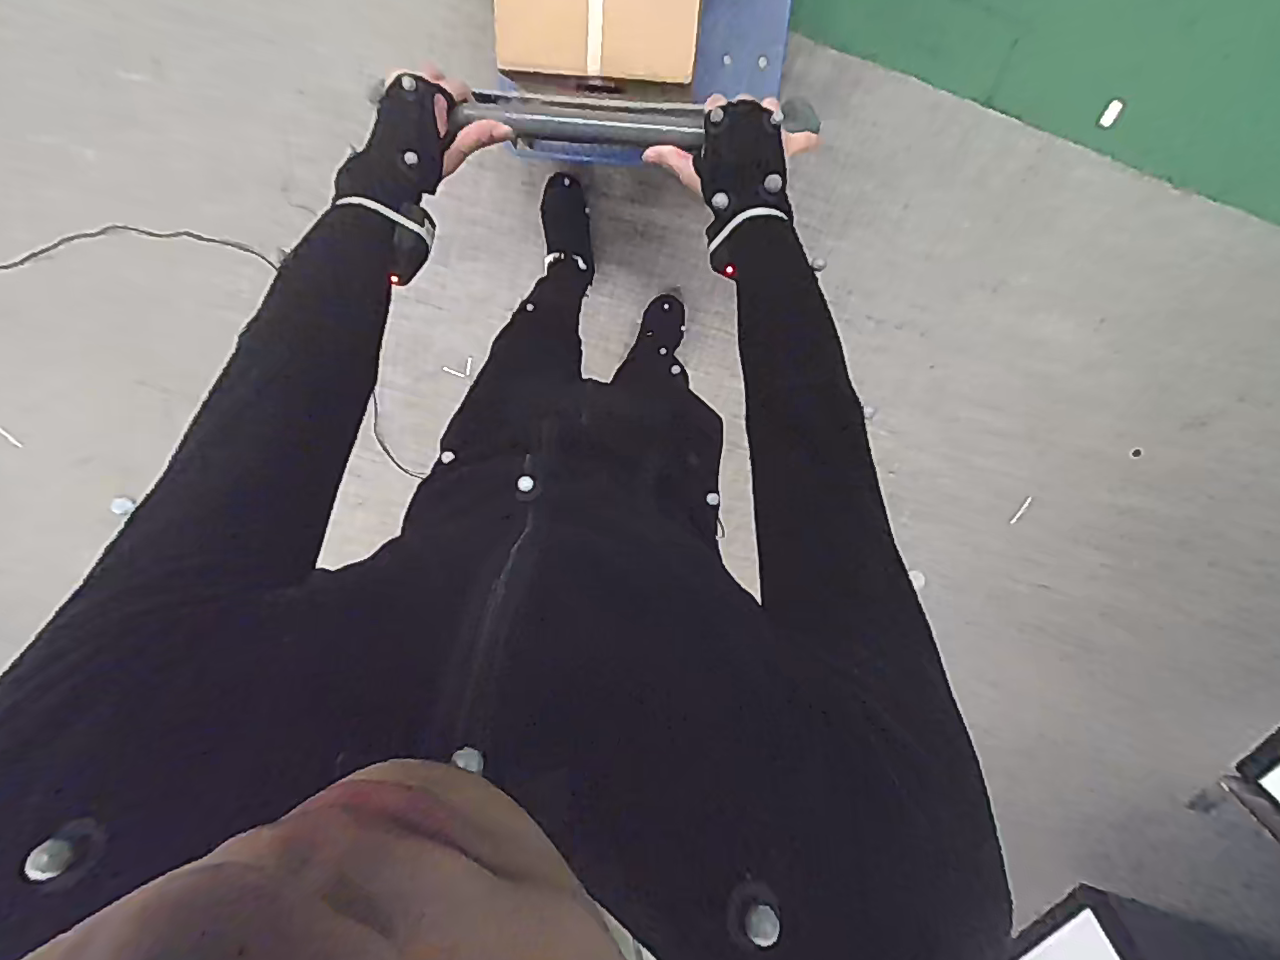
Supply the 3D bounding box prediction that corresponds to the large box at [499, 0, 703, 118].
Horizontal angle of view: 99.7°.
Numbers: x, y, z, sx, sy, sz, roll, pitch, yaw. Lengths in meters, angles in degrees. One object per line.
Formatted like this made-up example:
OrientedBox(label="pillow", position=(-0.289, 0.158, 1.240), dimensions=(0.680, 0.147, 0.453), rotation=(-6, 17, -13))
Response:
OrientedBox(label="large box", position=(-0.045, -0.875, 0.907), dimensions=(0.320, 0.320, 0.408), rotation=(5, 116, 1))
